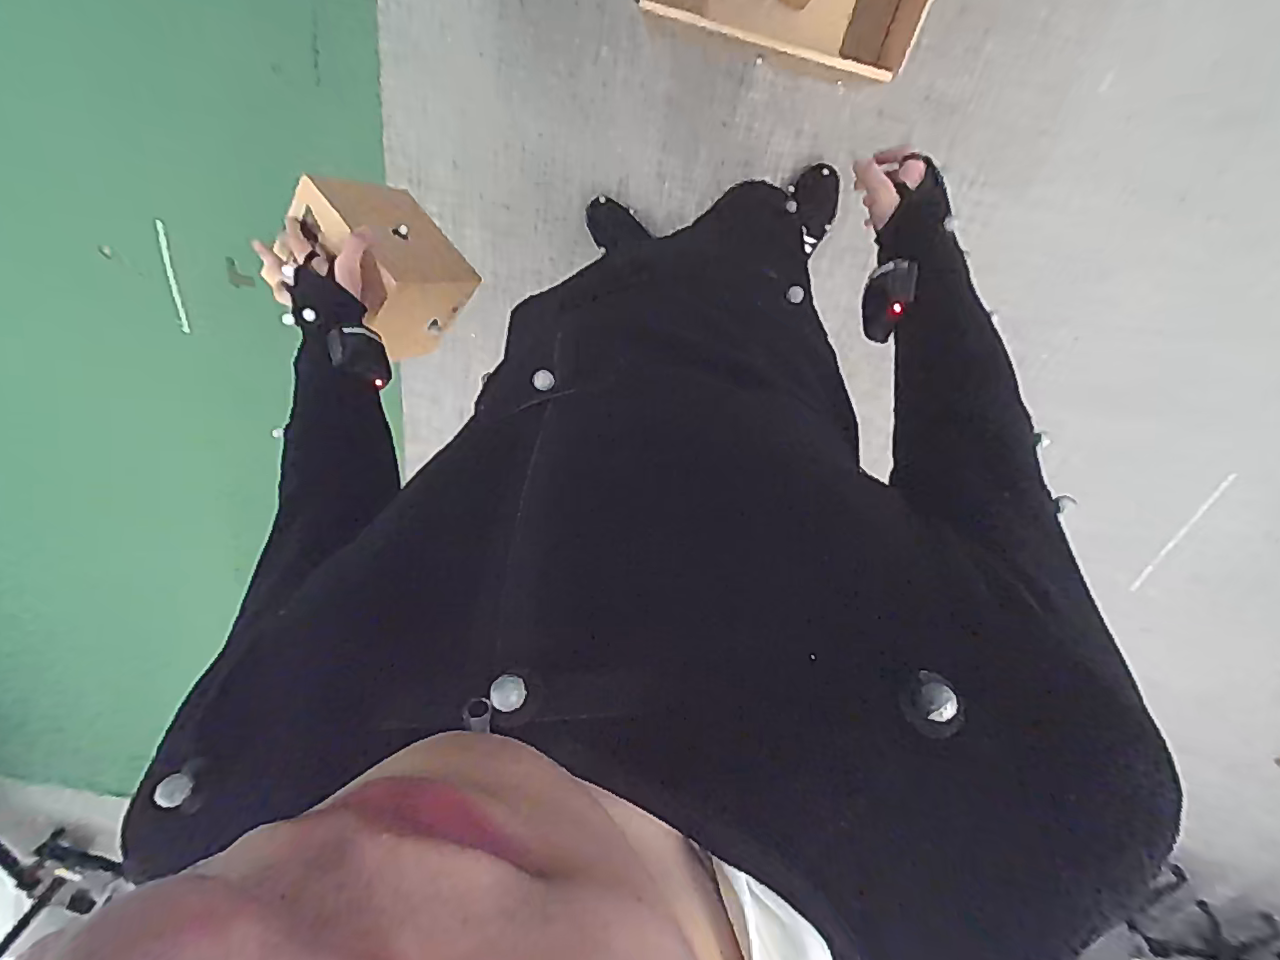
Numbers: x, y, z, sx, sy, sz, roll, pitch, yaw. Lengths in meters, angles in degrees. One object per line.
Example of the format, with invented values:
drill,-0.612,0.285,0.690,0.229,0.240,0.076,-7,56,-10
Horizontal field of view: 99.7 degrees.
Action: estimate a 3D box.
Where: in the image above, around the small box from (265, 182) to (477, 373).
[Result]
small box,-0.372,-0.279,0.766,0.179,0.176,0.168,48,120,-1
